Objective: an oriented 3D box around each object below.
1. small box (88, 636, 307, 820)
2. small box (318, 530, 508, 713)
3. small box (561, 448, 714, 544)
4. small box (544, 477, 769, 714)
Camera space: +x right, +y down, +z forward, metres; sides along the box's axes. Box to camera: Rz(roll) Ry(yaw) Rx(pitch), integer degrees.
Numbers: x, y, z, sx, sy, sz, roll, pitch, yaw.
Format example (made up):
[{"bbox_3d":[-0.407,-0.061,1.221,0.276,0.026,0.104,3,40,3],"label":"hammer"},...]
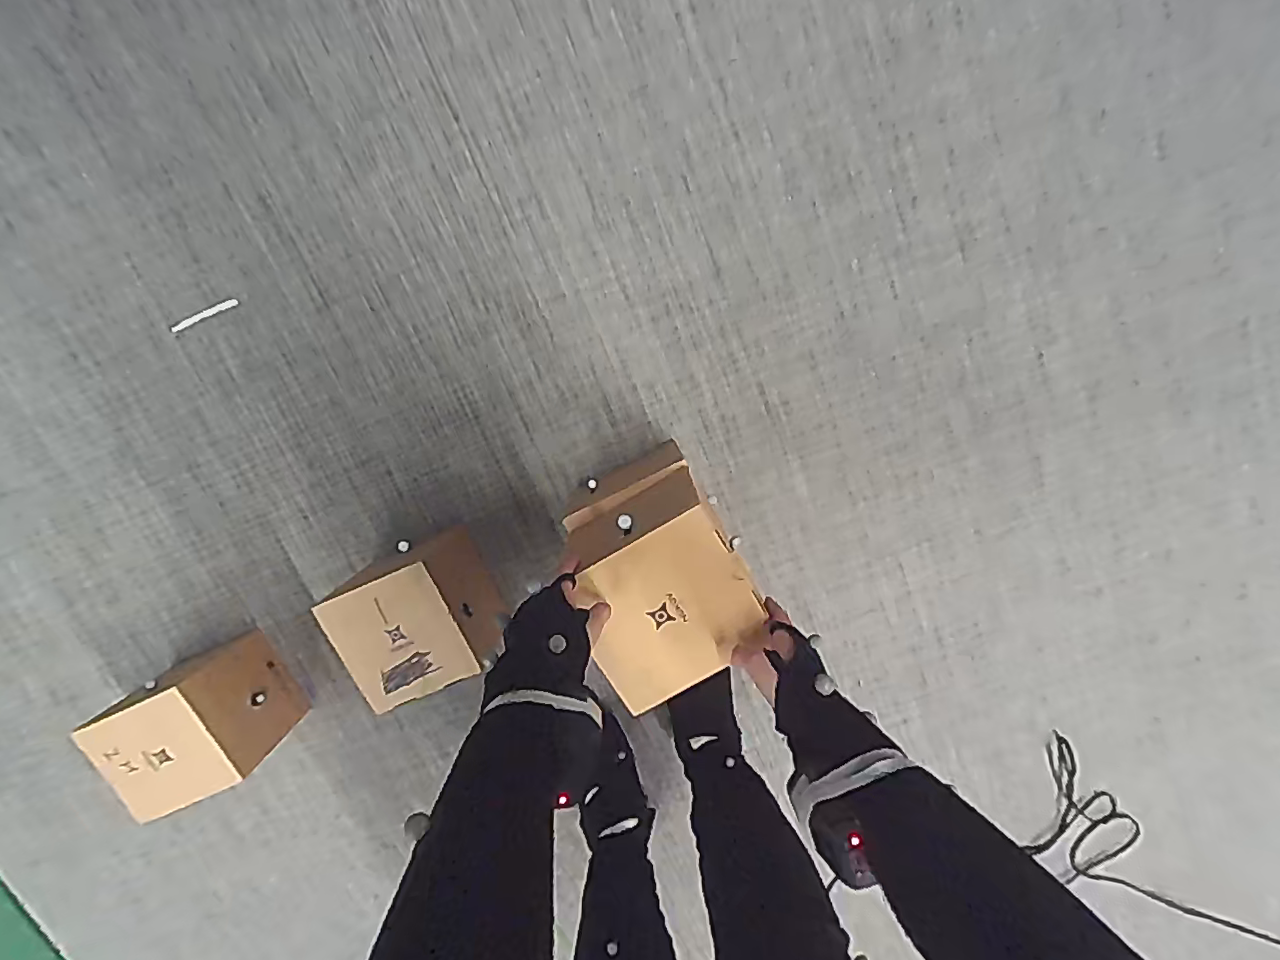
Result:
[{"bbox_3d":[-0.664,0.374,0.843,0.179,0.176,0.168,-24,101,5],"label":"small box"},{"bbox_3d":[-0.318,0.199,0.802,0.168,0.176,0.179,-24,101,6],"label":"small box"},{"bbox_3d":[0.010,0.070,0.772,0.179,0.176,0.168,-26,102,5],"label":"small box"},{"bbox_3d":[0.019,0.119,0.617,0.179,0.176,0.168,-31,101,6],"label":"small box"}]
